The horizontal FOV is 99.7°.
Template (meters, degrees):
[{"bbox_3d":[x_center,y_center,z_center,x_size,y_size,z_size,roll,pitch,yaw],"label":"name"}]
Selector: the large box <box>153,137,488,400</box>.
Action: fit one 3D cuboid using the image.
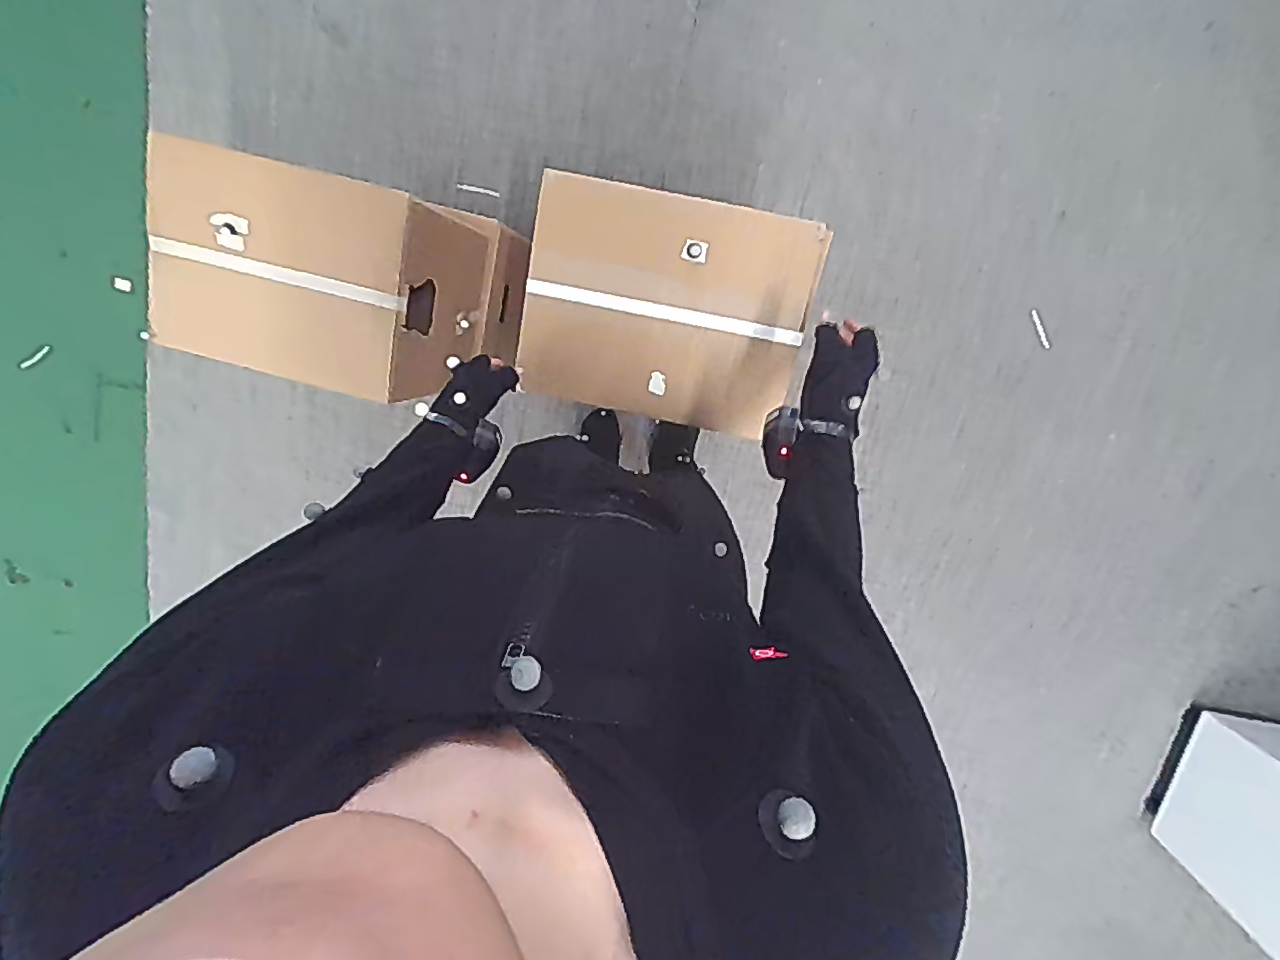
[{"bbox_3d":[-0.531,-0.352,0.962,0.408,0.320,0.320,15,106,3],"label":"large box"}]
